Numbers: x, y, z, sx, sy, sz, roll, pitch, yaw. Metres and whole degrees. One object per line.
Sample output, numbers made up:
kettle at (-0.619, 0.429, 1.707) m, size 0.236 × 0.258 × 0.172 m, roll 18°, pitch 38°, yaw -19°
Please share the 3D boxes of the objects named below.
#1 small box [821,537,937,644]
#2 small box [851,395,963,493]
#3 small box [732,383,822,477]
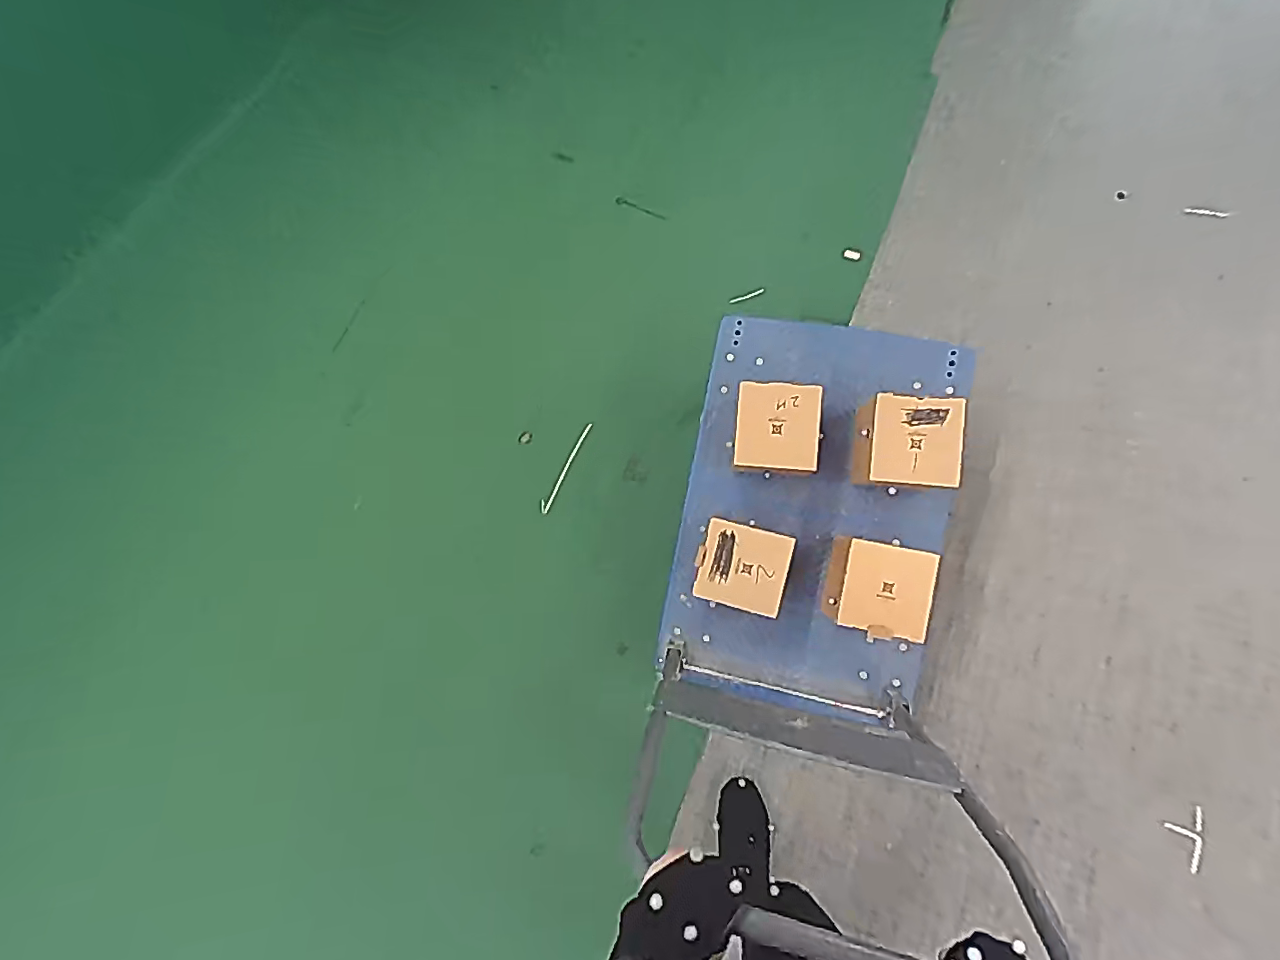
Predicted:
small box at (0.488, 0.220, 1.128) m, size 0.168 × 0.176 × 0.179 m, roll 11°, pitch 88°, yaw 9°
small box at (0.551, -0.069, 1.137) m, size 0.168 × 0.176 × 0.179 m, roll 6°, pitch 88°, yaw 9°
small box at (0.290, -0.102, 1.177) m, size 0.168 × 0.176 × 0.179 m, roll 5°, pitch 87°, yaw 8°
